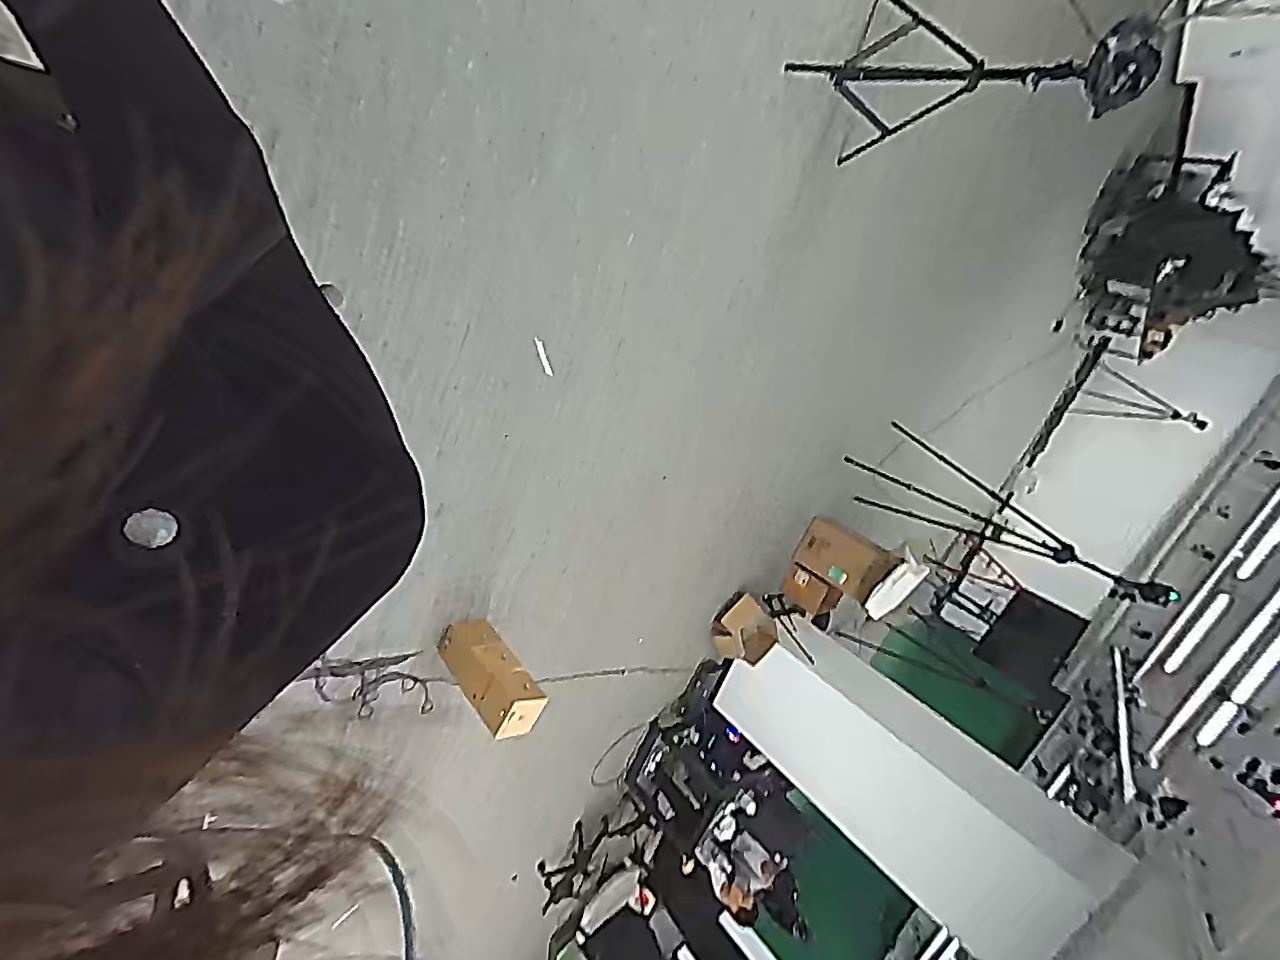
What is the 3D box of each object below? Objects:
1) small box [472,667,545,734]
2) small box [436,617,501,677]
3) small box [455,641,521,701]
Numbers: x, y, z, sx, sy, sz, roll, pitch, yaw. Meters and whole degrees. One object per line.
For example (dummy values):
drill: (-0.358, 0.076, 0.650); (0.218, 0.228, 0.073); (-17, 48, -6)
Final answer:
small box: (-0.504, 0.834, 2.065); (0.179, 0.176, 0.168); (21, 100, -53)
small box: (-0.719, 0.690, 2.264); (0.179, 0.176, 0.168); (8, 110, -50)
small box: (-0.613, 0.763, 2.166); (0.168, 0.176, 0.179); (10, 109, -51)
